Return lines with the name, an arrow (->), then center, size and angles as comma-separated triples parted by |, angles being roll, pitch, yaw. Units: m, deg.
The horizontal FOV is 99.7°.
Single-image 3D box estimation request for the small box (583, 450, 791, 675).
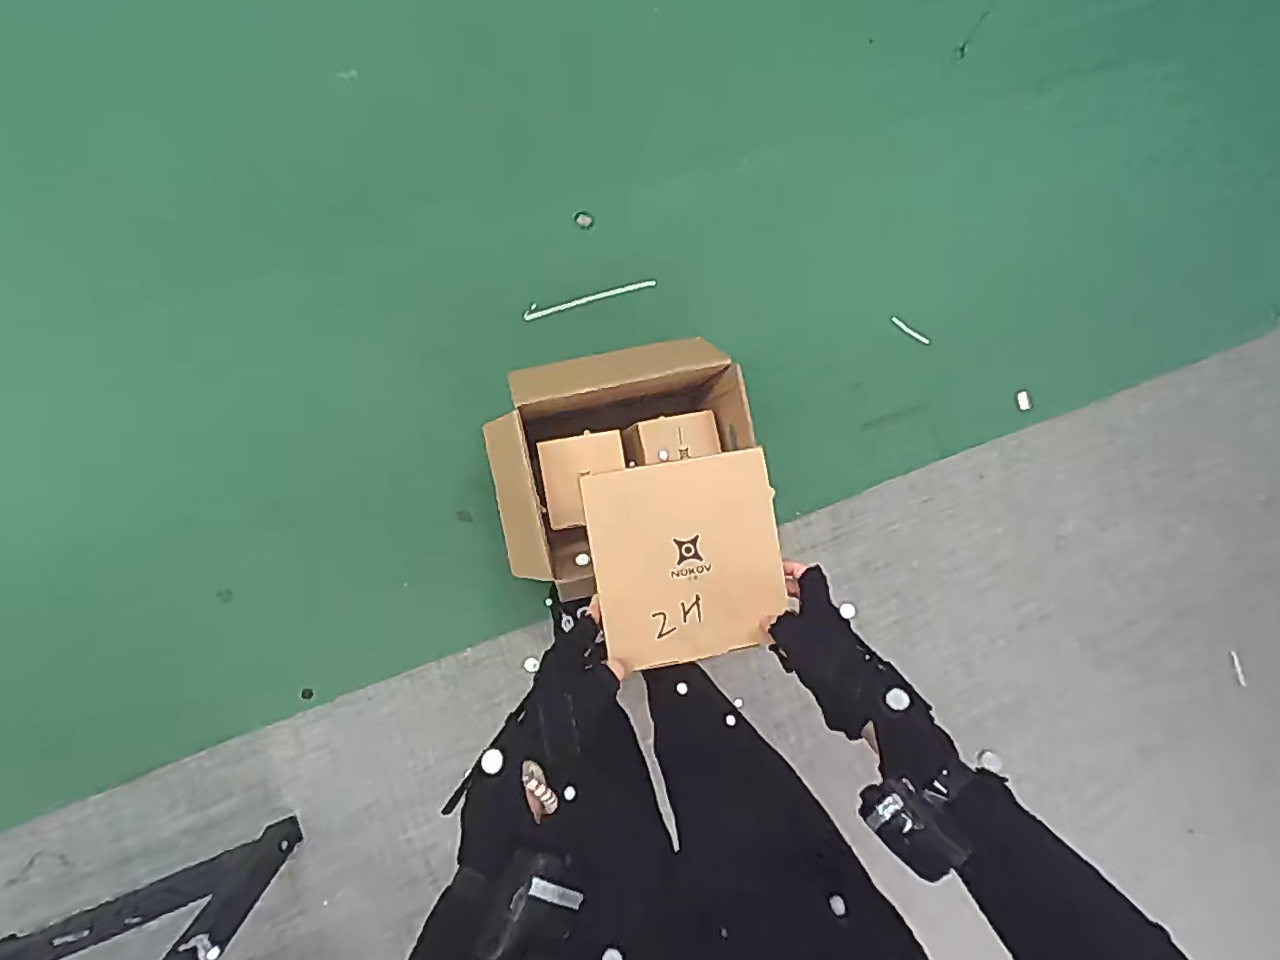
small box -> 0.033, 0.073, 0.549 | 0.168, 0.176, 0.179 | -9, 89, -5
